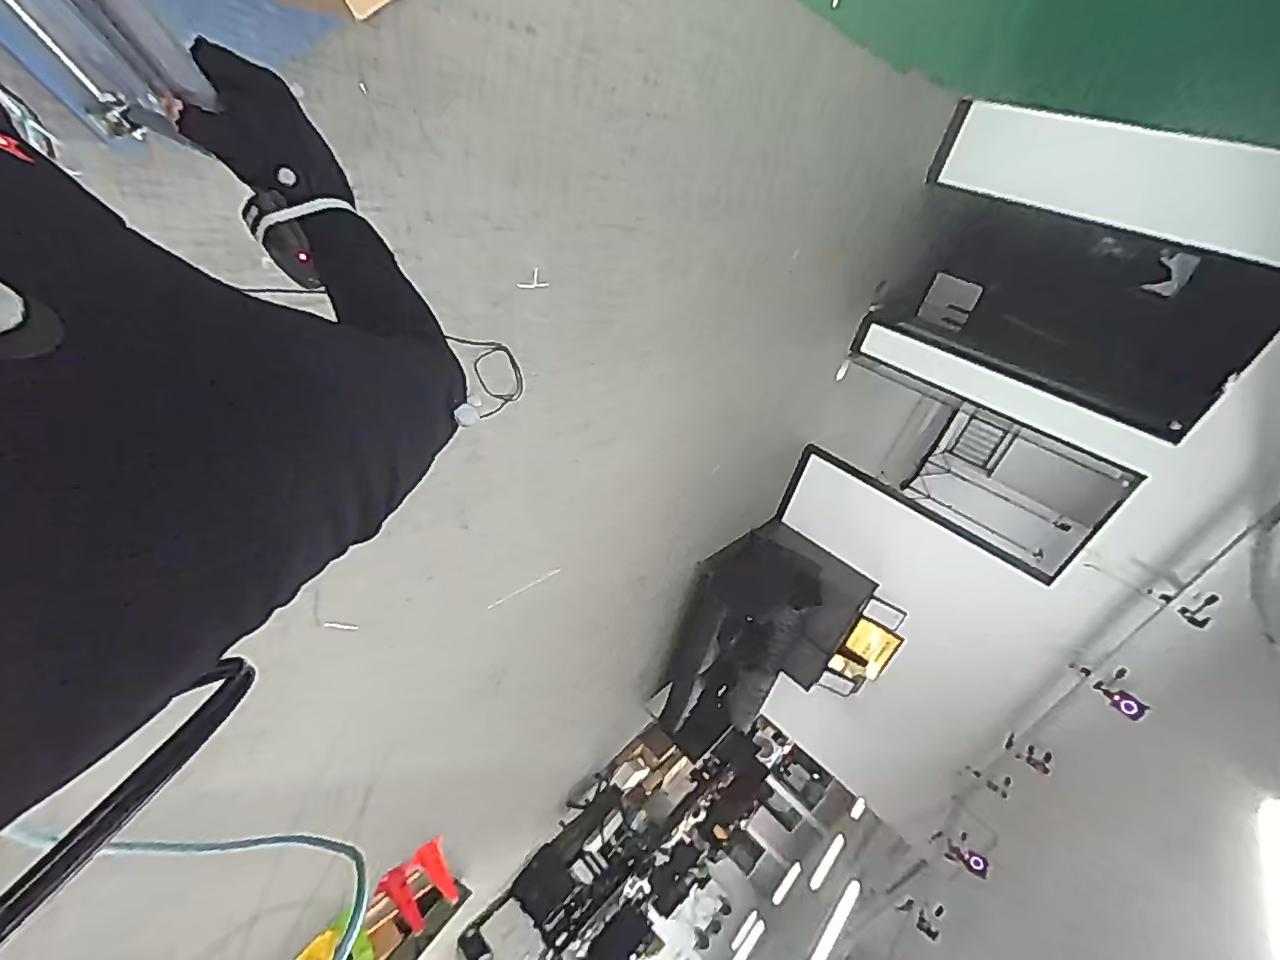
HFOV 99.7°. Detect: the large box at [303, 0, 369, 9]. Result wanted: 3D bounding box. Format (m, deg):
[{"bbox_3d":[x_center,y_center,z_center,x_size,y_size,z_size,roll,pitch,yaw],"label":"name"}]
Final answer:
[{"bbox_3d":[-0.453,-0.935,0.697,0.320,0.320,0.408,-47,150,-13],"label":"large box"}]
